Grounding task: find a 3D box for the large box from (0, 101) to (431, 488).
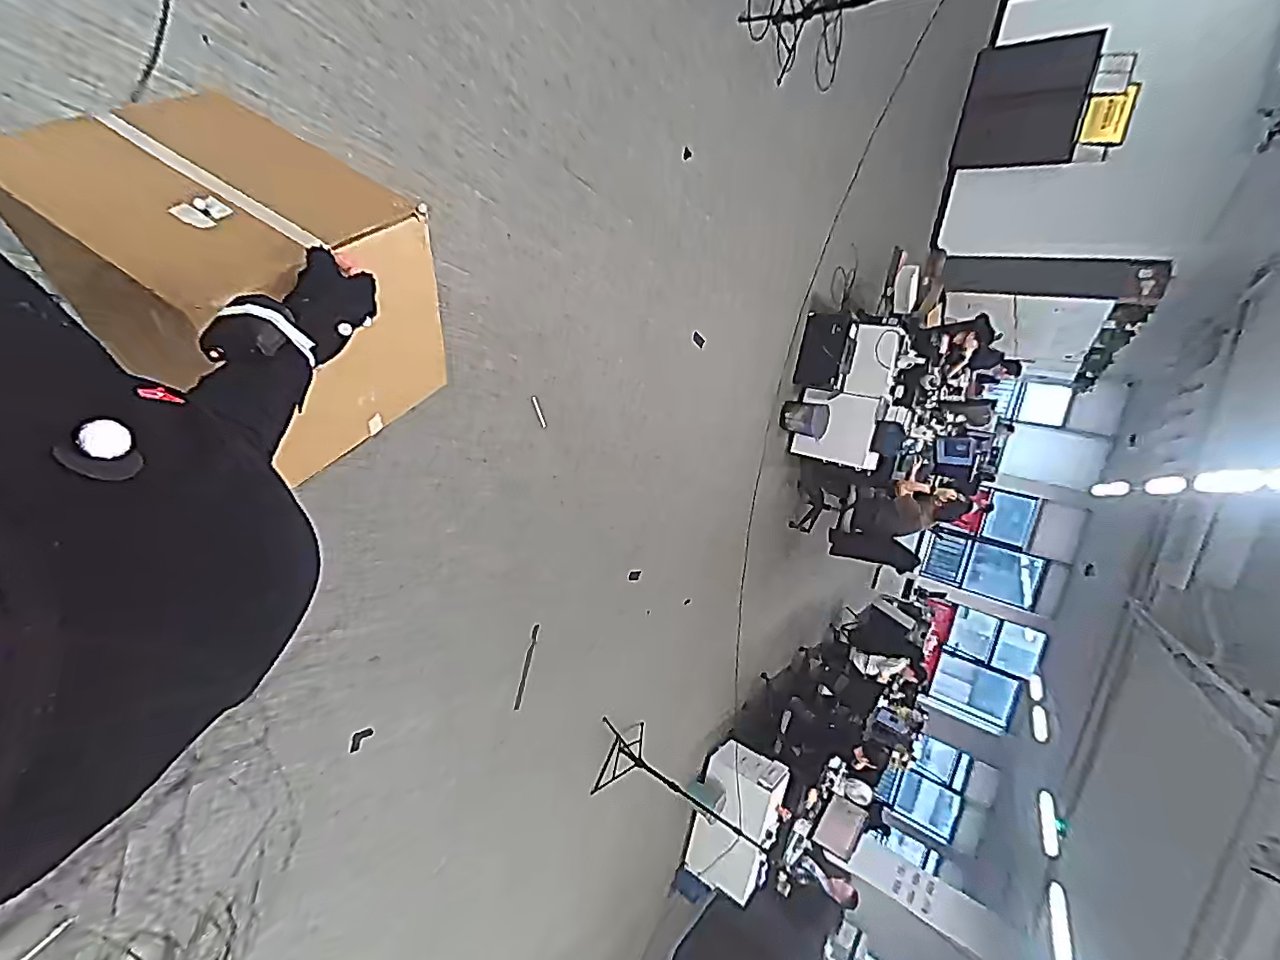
[{"bbox_3d":[-0.570,-0.265,0.776,0.320,0.408,0.320,-50,168,-36],"label":"large box"}]
